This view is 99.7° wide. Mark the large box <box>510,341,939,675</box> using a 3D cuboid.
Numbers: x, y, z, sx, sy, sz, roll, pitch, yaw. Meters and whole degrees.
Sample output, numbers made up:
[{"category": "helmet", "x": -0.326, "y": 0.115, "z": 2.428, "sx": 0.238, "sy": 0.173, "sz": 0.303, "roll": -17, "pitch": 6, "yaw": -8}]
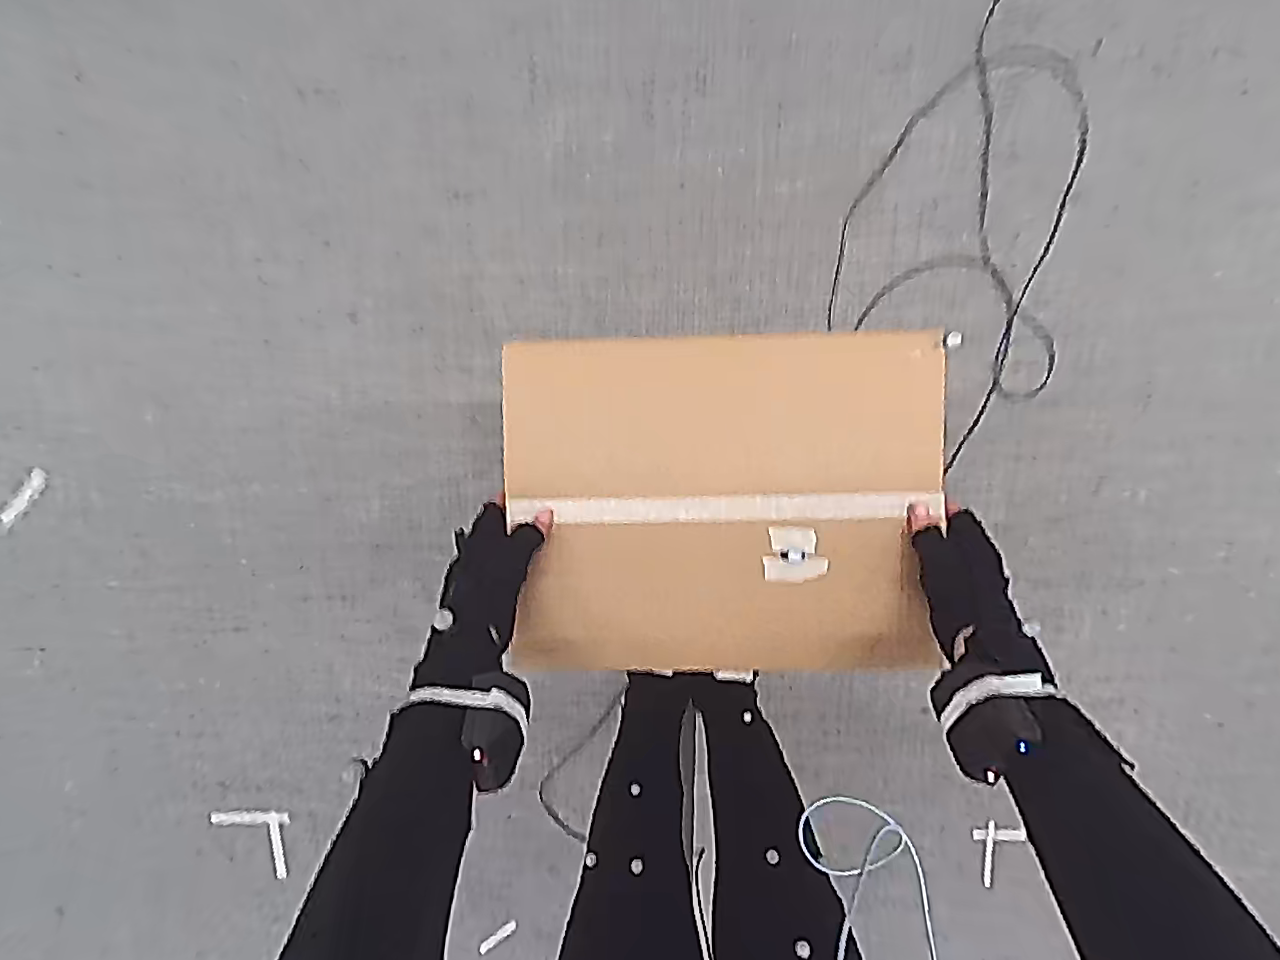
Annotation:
[{"category": "large box", "x": 0.083, "y": 0.025, "z": 0.659, "sx": 0.408, "sy": 0.320, "sz": 0.320, "roll": -1, "pitch": 93, "yaw": 3}]
